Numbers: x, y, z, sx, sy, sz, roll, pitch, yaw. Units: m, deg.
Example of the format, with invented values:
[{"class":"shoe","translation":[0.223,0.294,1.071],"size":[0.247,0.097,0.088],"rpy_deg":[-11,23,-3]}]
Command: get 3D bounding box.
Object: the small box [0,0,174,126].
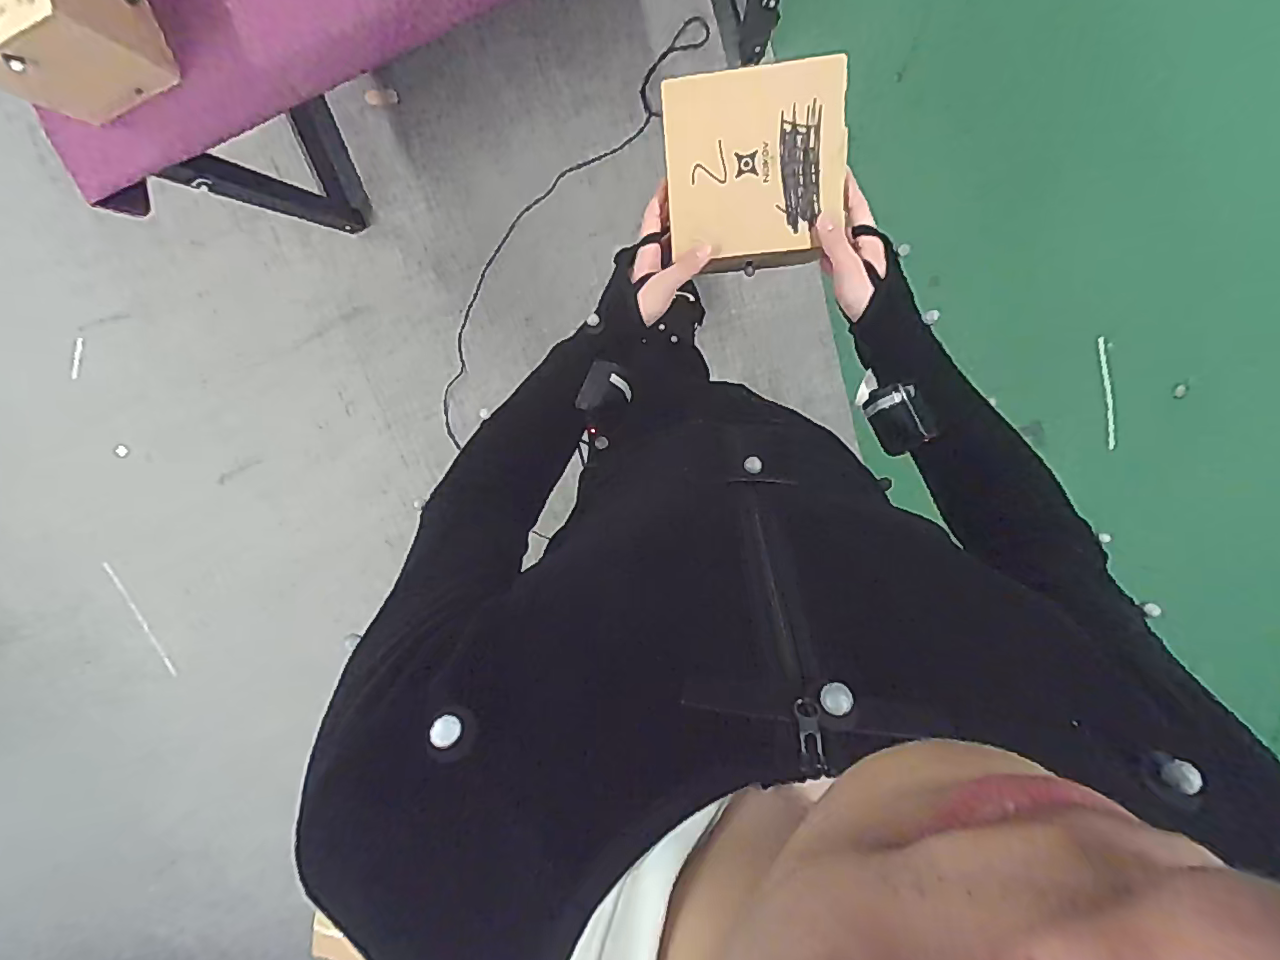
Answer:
[{"class":"small box","translation":[-0.763,-0.598,0.684],"size":[0.168,0.176,0.179],"rpy_deg":[-18,102,9]}]
